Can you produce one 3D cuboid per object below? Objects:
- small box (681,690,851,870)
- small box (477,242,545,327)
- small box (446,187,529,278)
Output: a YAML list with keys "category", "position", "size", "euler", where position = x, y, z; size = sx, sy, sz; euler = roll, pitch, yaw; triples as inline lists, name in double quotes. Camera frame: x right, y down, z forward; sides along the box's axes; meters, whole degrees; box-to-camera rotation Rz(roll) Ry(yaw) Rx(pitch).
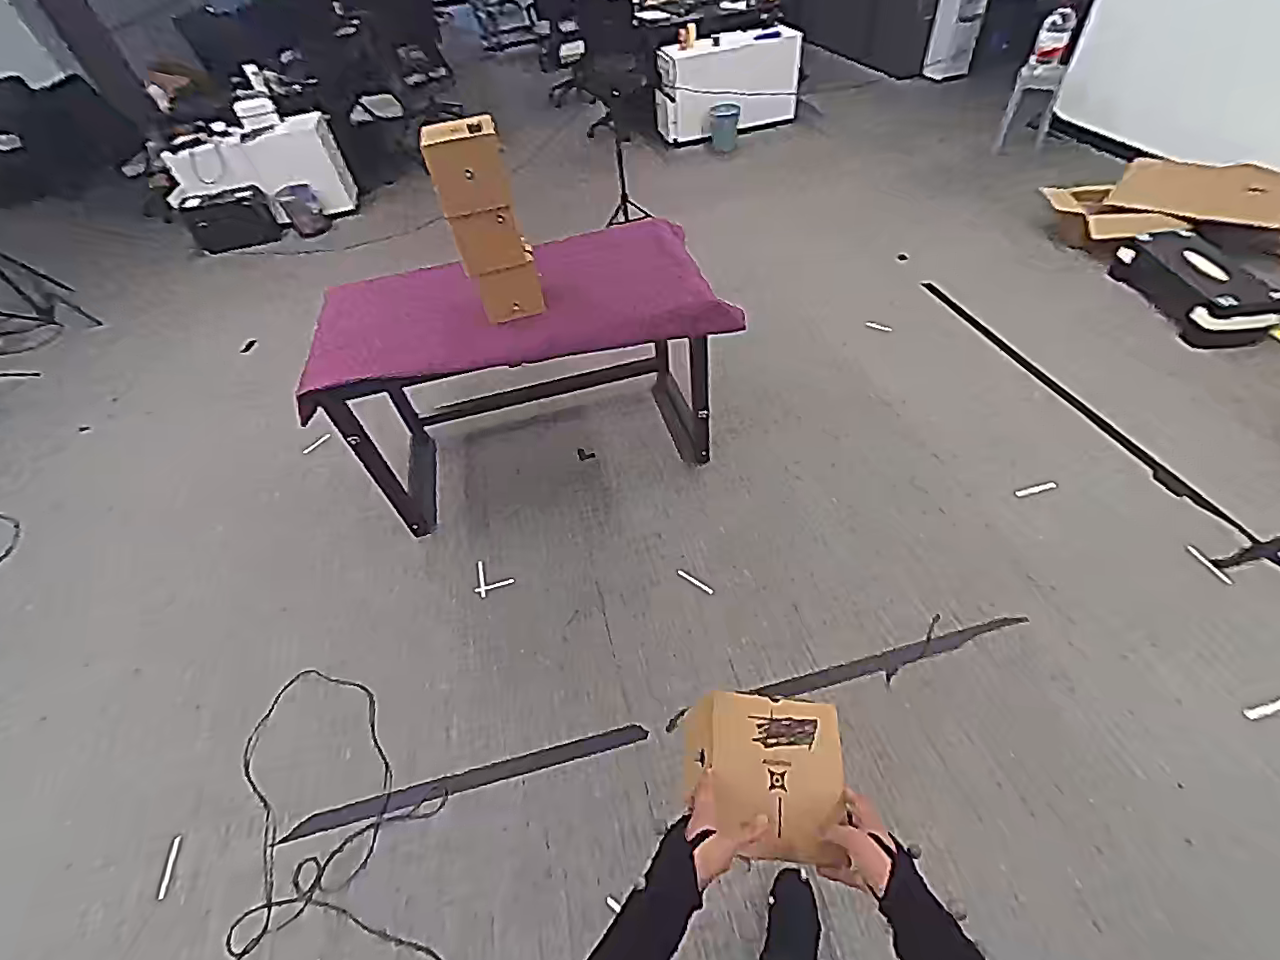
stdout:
- category: "small box"
  position: [0.151, 0.393, 0.708]
  size: [0.168, 0.176, 0.179]
  euler: [8, 57, -4]
- category: "small box"
  position: [-0.392, -0.591, 1.639]
  size: [0.179, 0.176, 0.168]
  euler: [-16, 48, -7]
- category: "small box"
  position: [-0.424, -0.686, 1.509]
  size: [0.179, 0.176, 0.168]
  euler: [-16, 48, -7]
